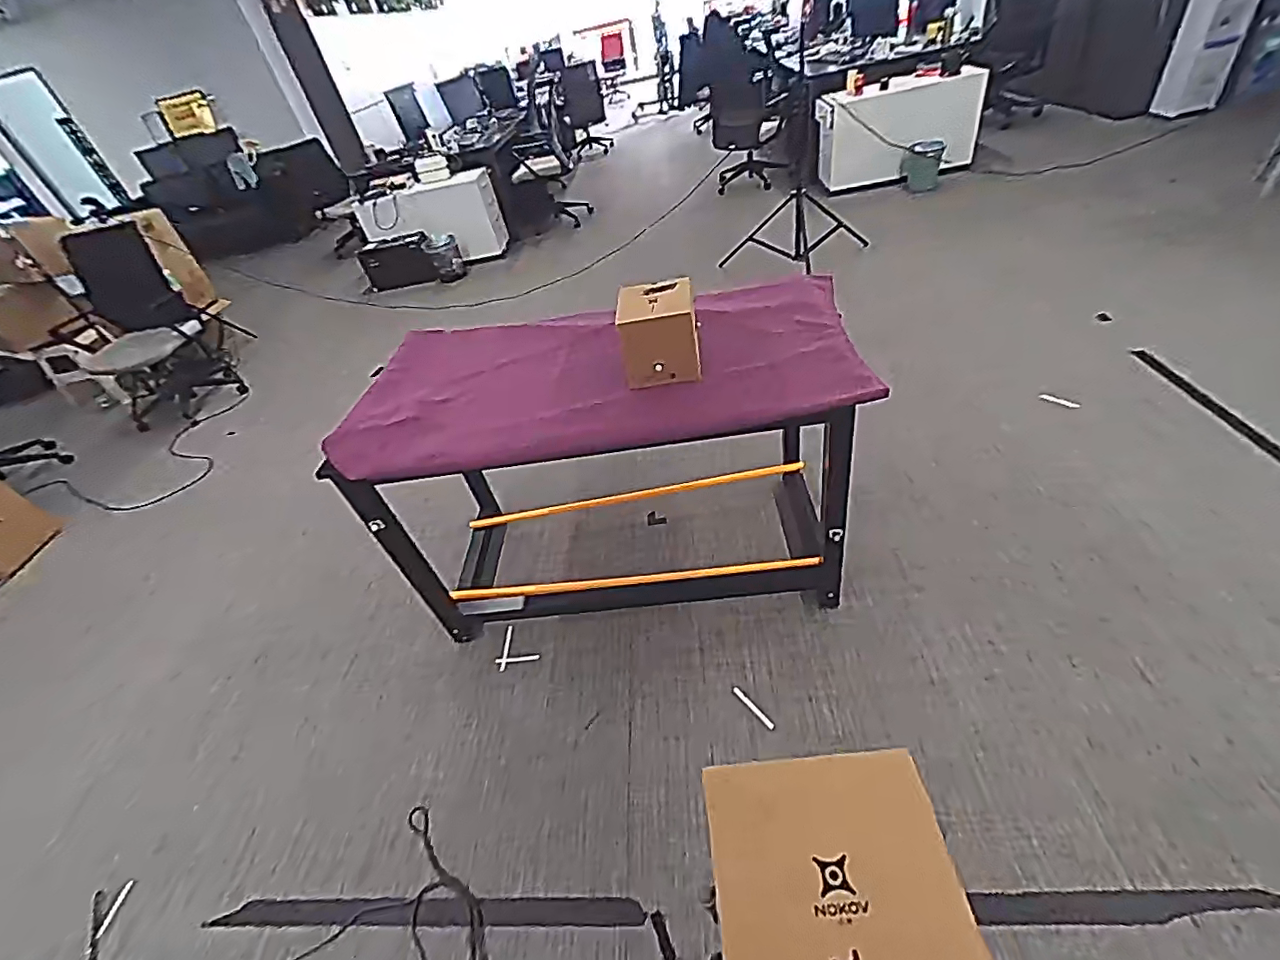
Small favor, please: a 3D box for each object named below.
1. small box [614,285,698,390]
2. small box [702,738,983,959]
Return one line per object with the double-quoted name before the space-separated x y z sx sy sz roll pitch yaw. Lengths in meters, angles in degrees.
"small box" 0.043 -0.329 1.253 0.168 0.176 0.179 -6 41 9
"small box" 0.143 0.333 0.429 0.168 0.176 0.179 -8 42 6
